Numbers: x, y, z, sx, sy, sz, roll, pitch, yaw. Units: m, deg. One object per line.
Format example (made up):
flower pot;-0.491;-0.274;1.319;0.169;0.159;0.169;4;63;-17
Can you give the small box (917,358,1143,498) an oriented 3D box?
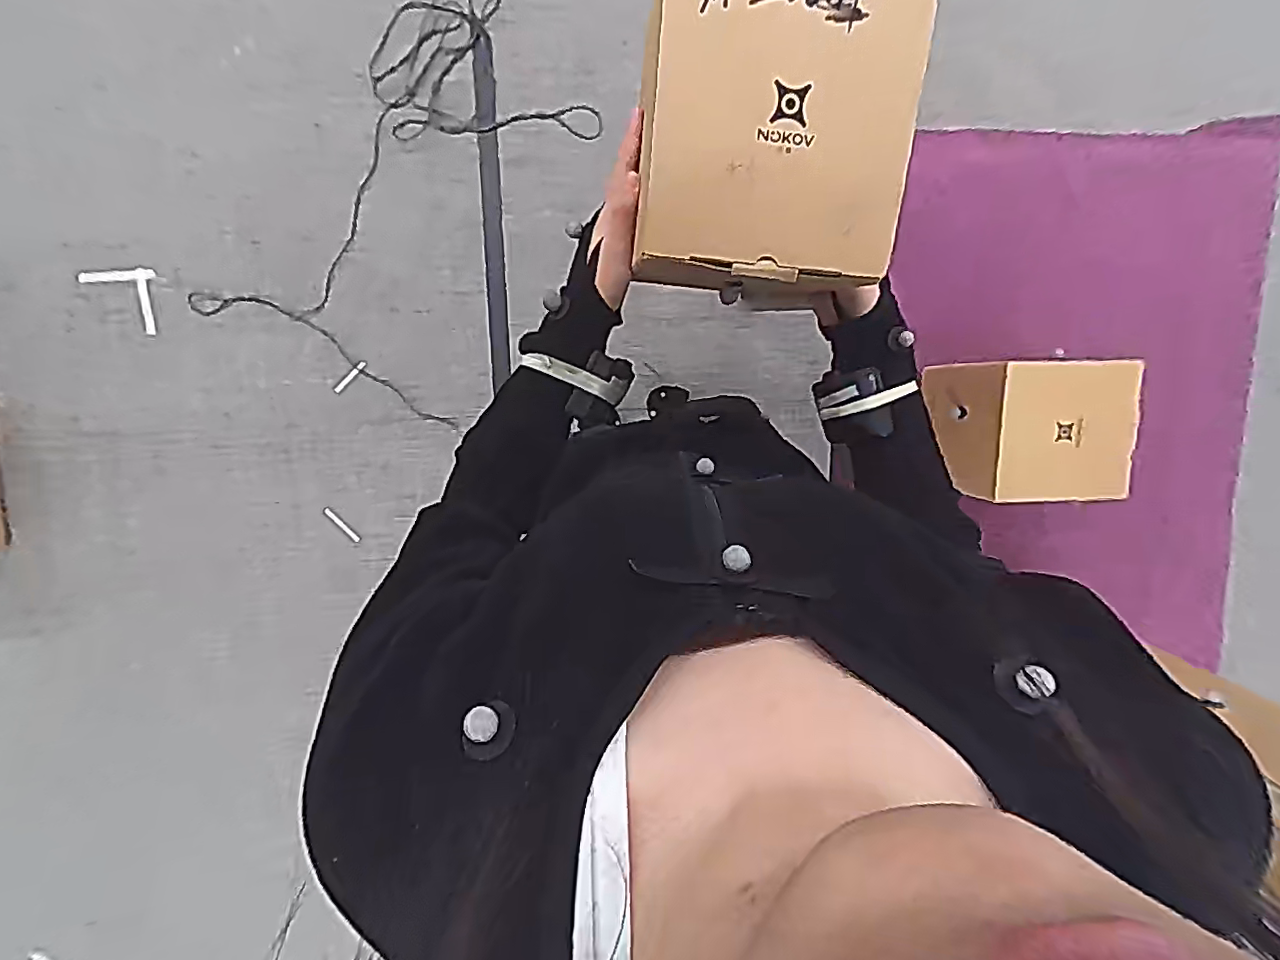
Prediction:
small box;0.496;-0.070;0.714;0.179;0.176;0.168;-2;99;-6

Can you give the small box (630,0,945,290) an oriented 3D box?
small box;0.084;-0.243;0.405;0.168;0.176;0.179;3;106;-7
